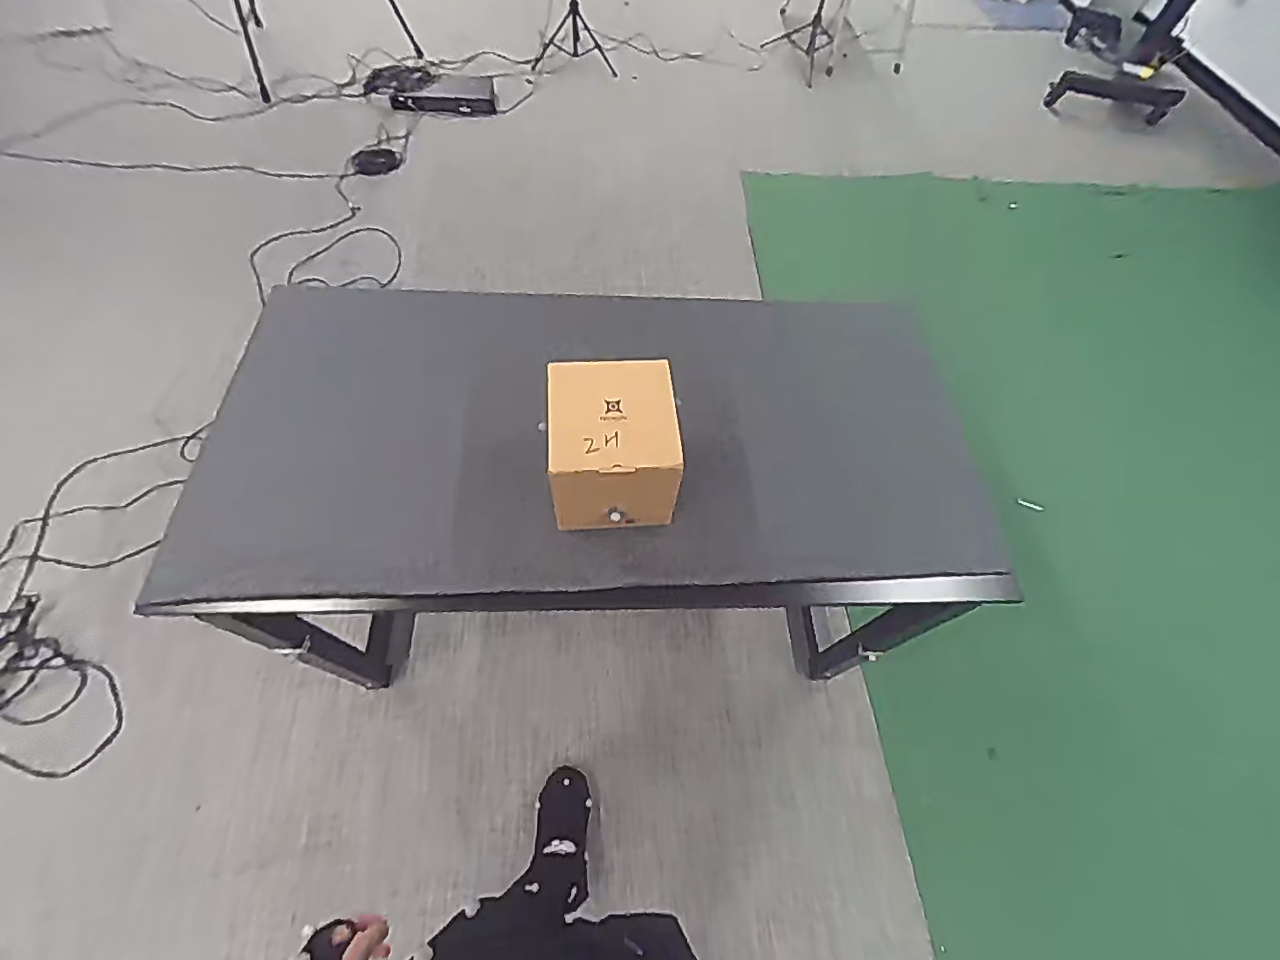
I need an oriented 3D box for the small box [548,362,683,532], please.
[{"bbox_3d":[-0.041,-0.044,0.758,0.168,0.176,0.179,-3,59,-6],"label":"small box"}]
